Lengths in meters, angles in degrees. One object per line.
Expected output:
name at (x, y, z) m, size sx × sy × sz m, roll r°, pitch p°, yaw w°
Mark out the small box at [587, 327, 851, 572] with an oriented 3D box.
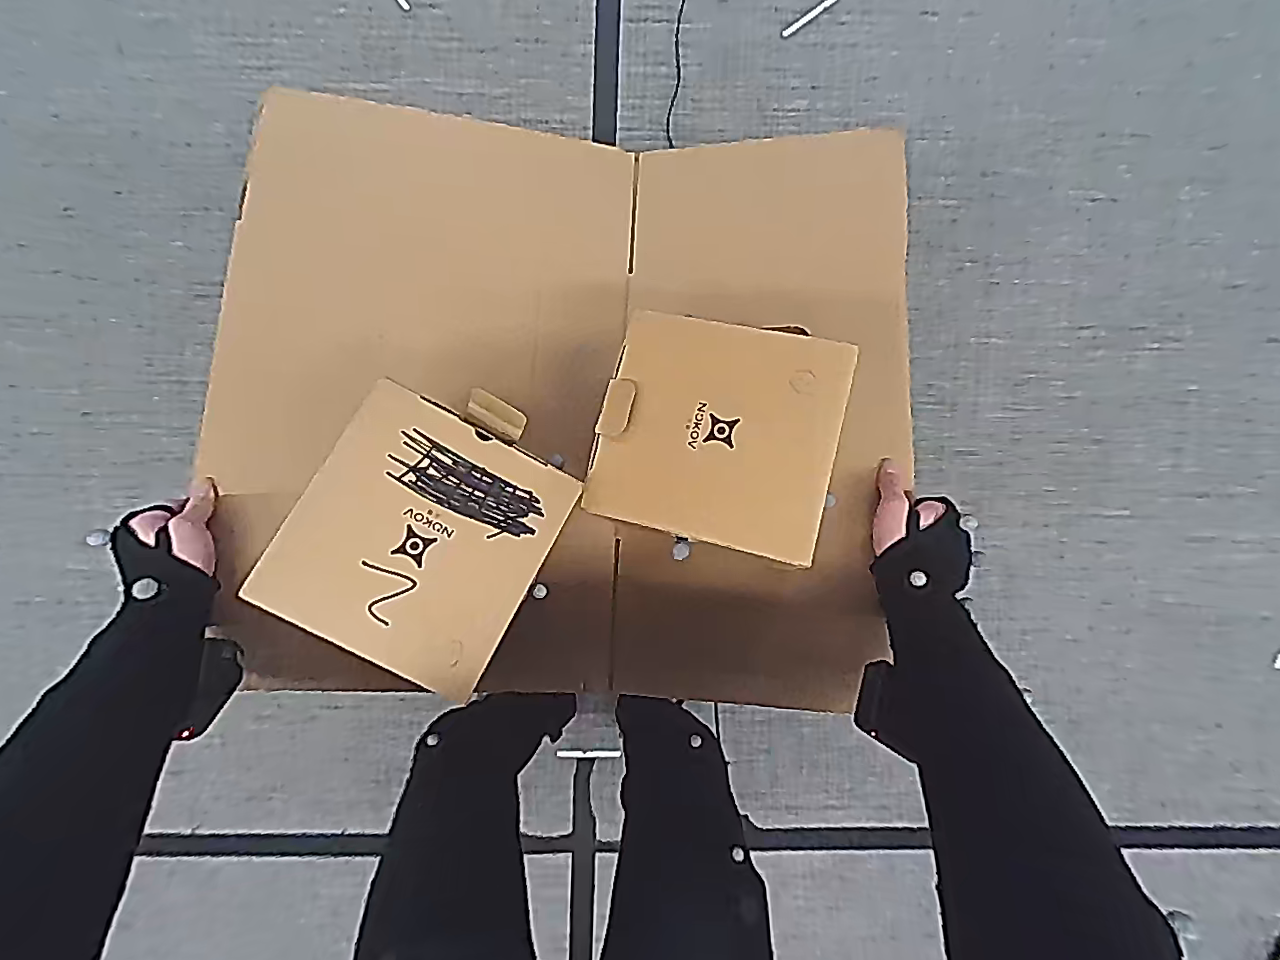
small box at (0.075, -0.019, 0.497) m, size 0.179 × 0.176 × 0.168 m, roll 13°, pitch 84°, yaw 14°
